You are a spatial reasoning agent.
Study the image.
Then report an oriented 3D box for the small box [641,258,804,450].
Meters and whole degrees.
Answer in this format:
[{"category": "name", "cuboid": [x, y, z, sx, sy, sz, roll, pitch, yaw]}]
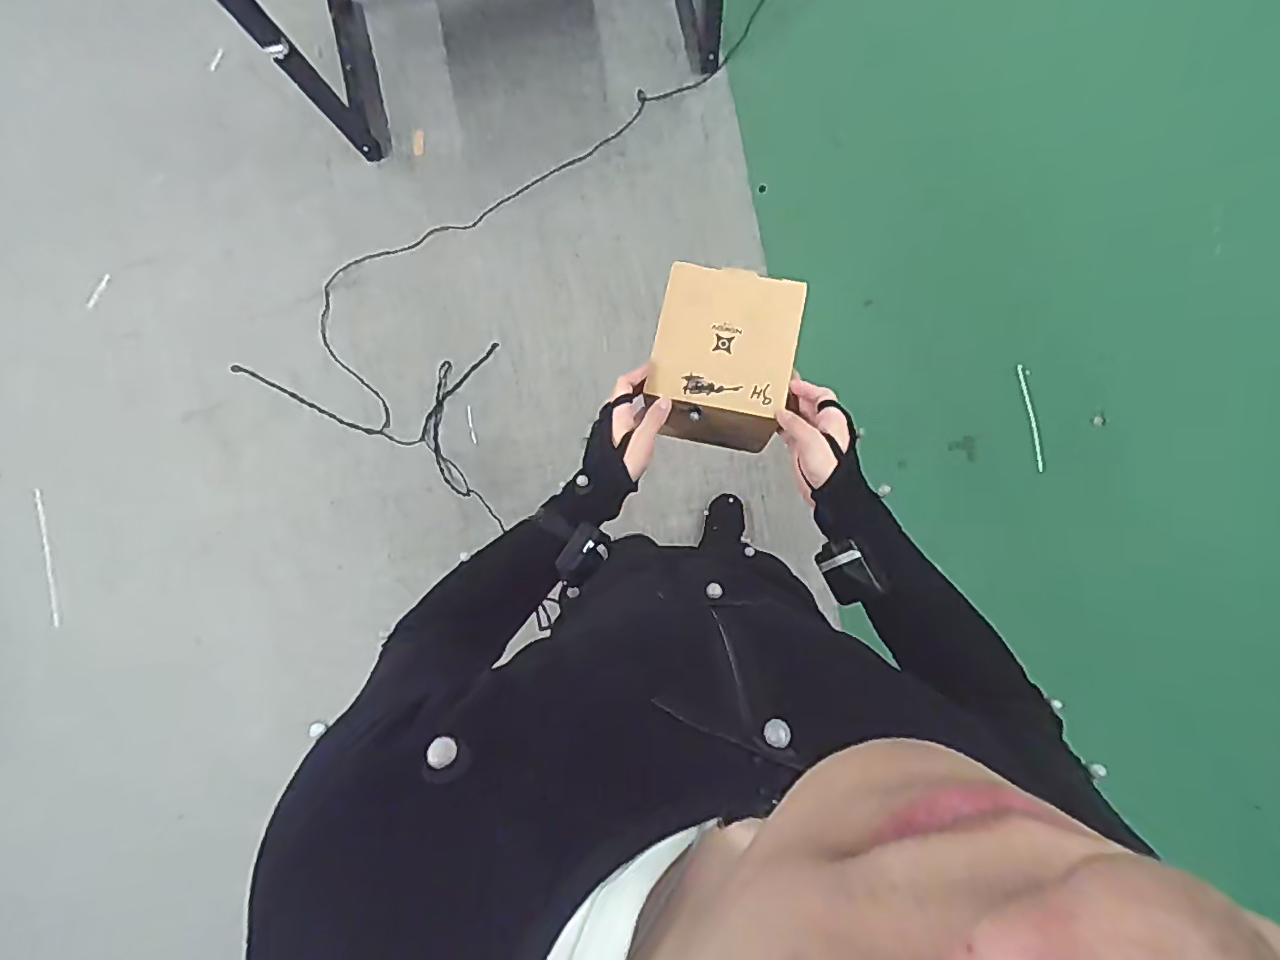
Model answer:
[{"category": "small box", "cuboid": [0.103, -0.156, 0.711, 0.168, 0.176, 0.179, 12, 80, 7]}]
